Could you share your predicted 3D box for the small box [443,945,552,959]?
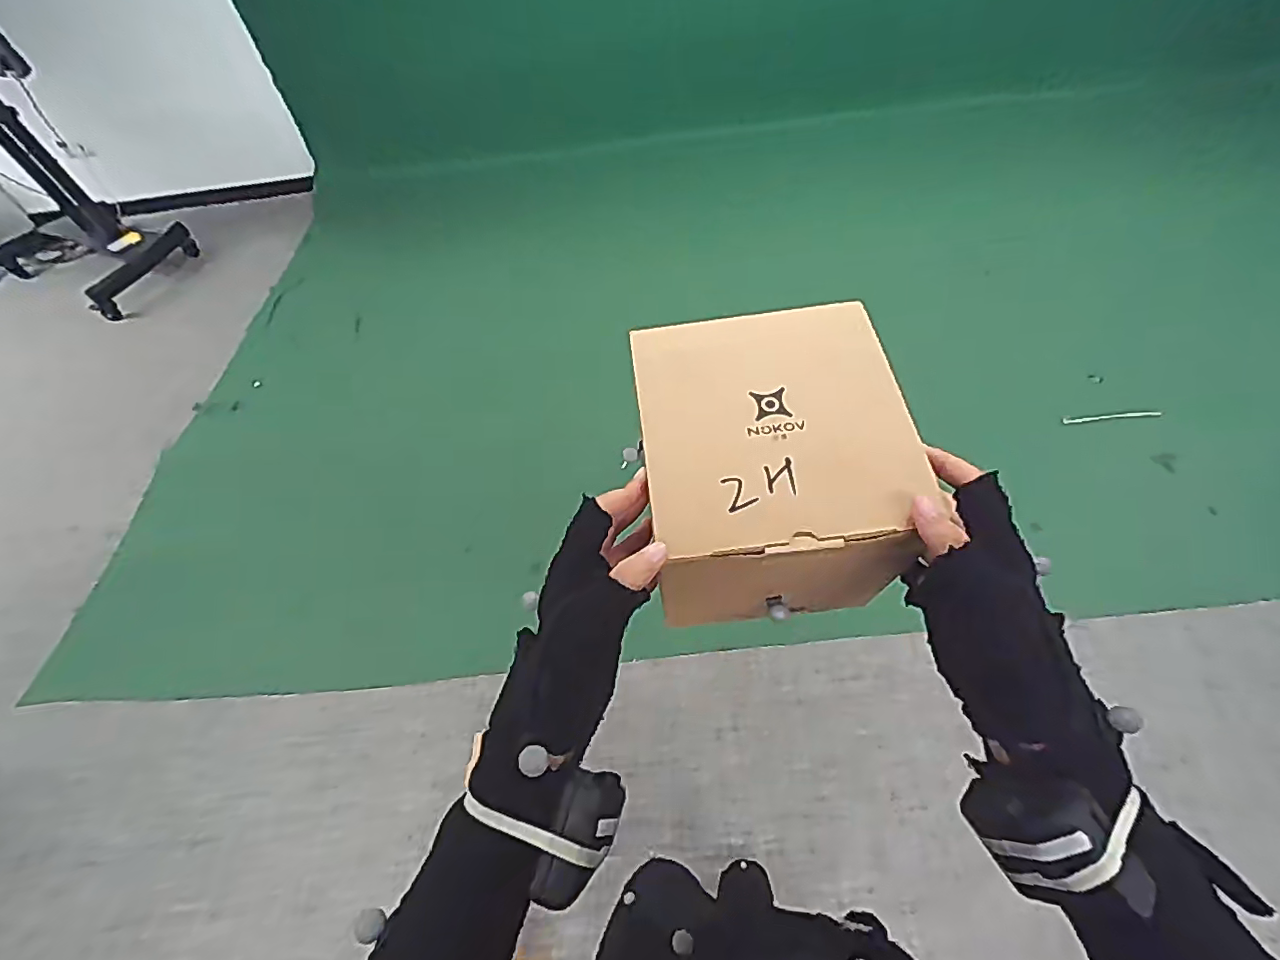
[{"bbox_3d":[-0.273,0.987,1.009,0.179,0.176,0.168,-1,53,7],"label":"small box"}]
